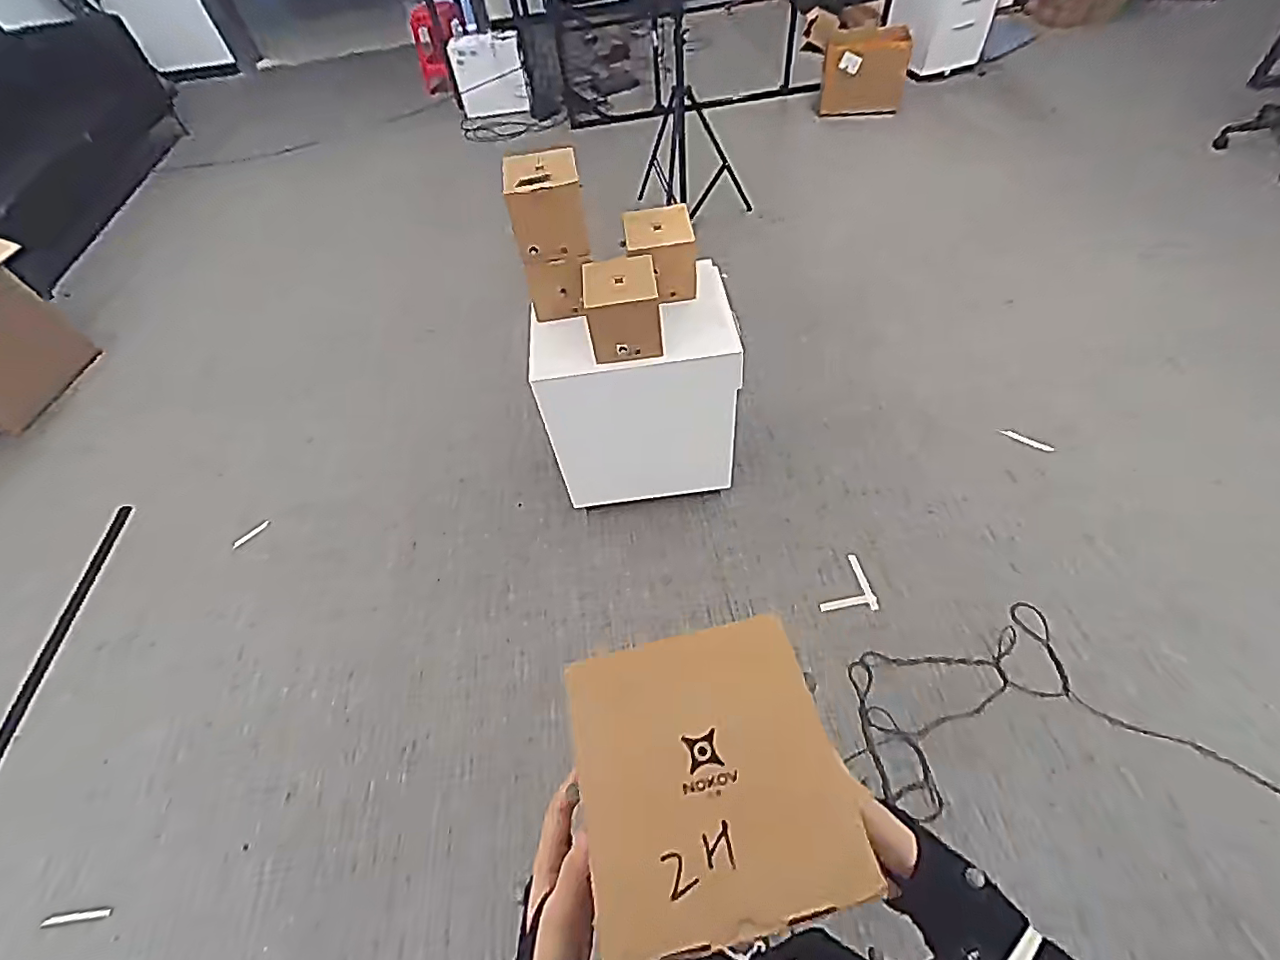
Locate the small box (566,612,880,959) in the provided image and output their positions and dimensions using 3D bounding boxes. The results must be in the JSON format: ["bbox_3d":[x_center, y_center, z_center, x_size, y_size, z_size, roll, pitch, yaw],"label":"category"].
[{"bbox_3d":[0.048,0.230,0.417,0.168,0.176,0.179,-14,54,-3],"label":"small box"}]

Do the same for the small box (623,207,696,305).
[{"bbox_3d":[0.053,-0.571,1.398,0.168,0.176,0.179,-8,54,2],"label":"small box"}]

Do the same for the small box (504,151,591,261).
[{"bbox_3d":[-0.214,-0.634,1.268,0.168,0.176,0.179,-10,54,-1],"label":"small box"}]
